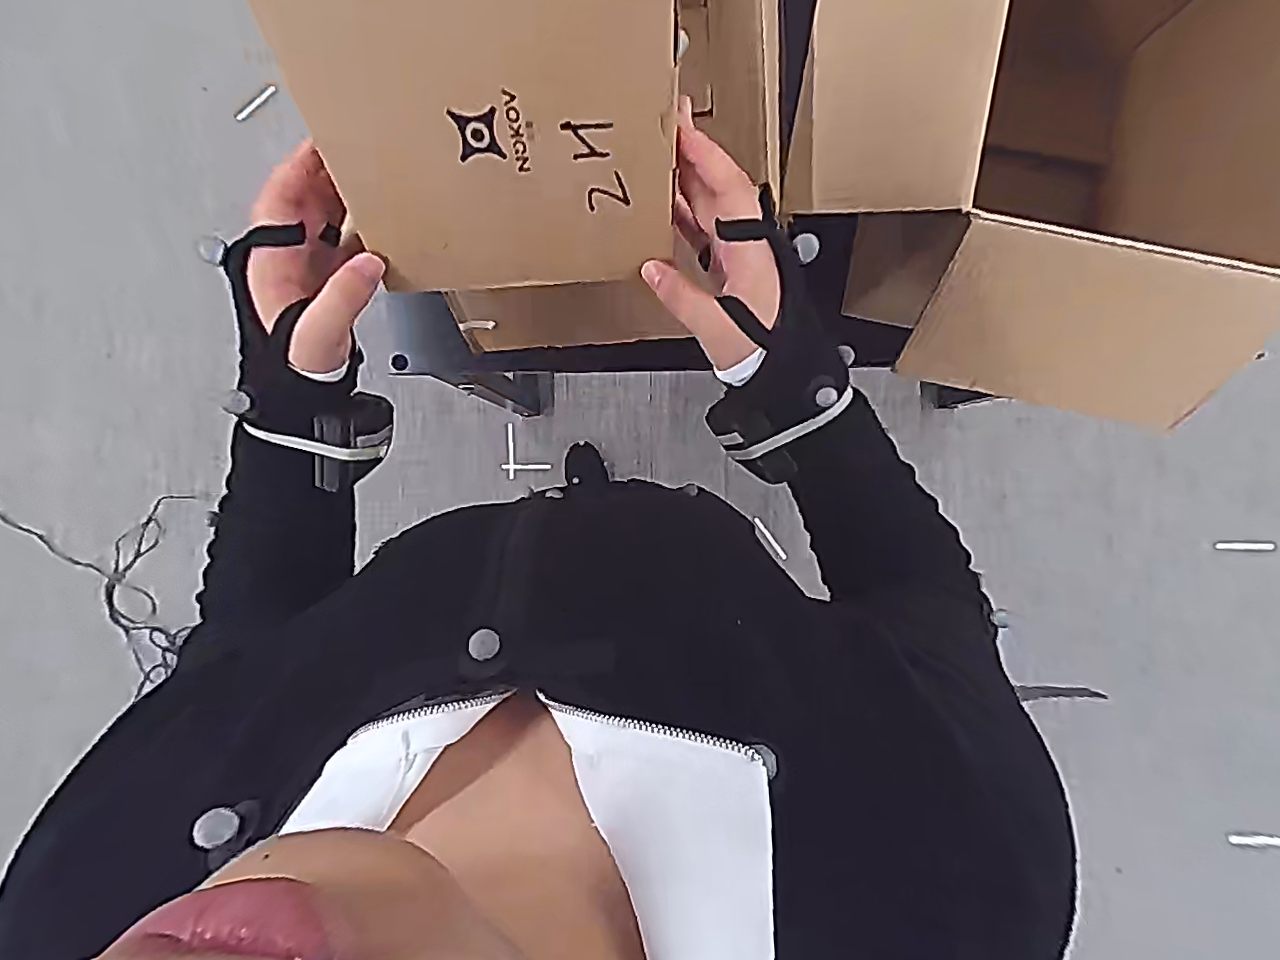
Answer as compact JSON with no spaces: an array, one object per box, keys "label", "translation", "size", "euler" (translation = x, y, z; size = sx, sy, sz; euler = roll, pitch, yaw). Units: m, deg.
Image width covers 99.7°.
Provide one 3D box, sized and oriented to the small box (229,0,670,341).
[{"label":"small box","translation":[-0.077,-0.203,0.320],"size":[0.179,0.168,0.176],"euler":[-3,56,-1]}]
